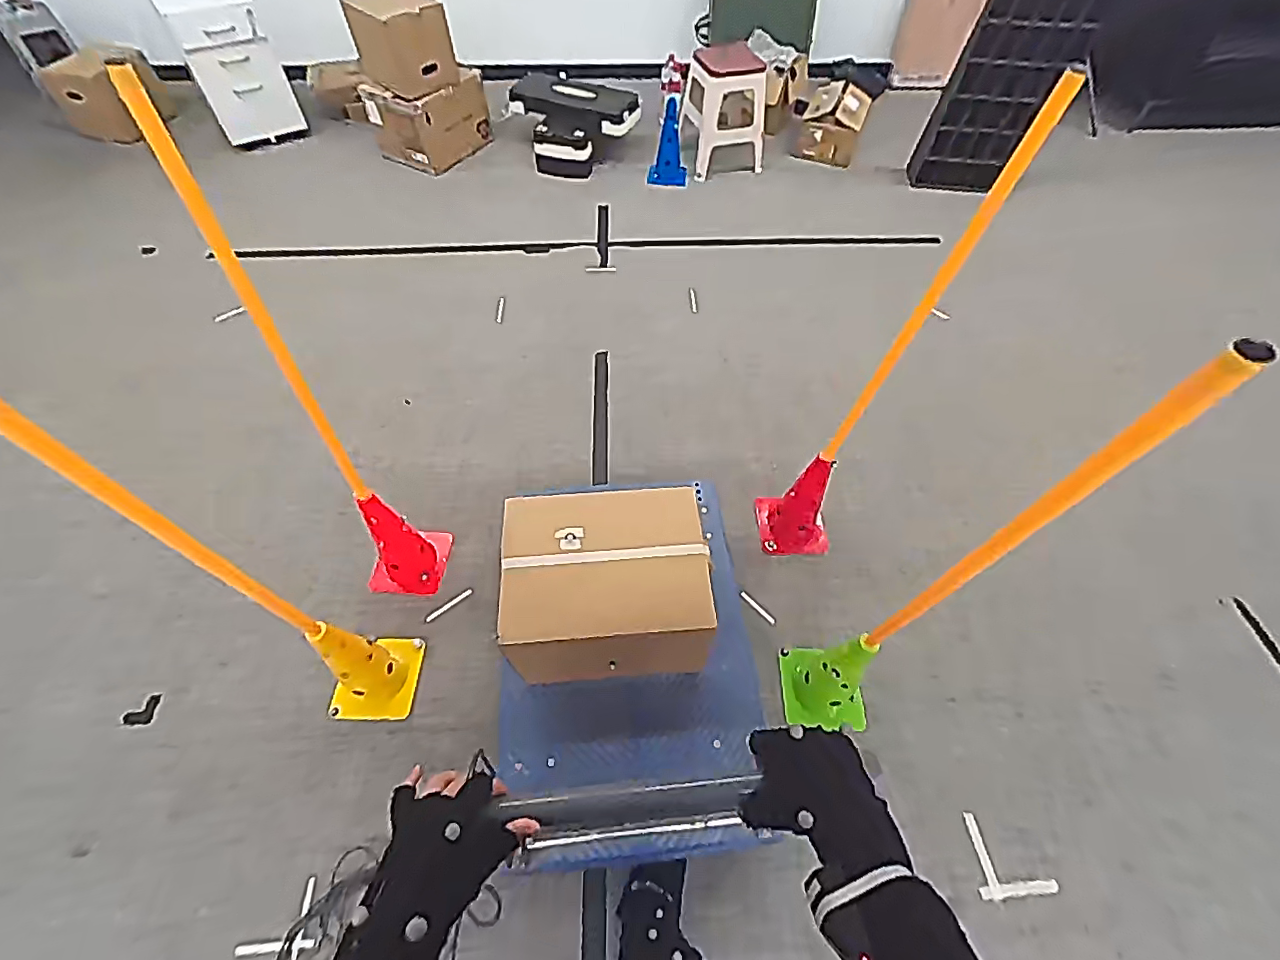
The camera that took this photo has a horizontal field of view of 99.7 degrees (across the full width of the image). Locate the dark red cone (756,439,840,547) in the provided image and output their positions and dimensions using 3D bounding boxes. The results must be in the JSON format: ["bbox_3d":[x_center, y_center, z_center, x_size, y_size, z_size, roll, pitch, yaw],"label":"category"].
[{"bbox_3d":[0.471,0.025,1.511,0.201,0.394,0.202,0,56,-4],"label":"dark red cone"}]

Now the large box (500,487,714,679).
[{"bbox_3d":[-0.070,0.237,1.199,0.408,0.320,0.320,-4,56,-2],"label":"large box"}]

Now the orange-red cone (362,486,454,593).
[{"bbox_3d":[-0.656,0.129,1.437,0.198,0.360,0.199,6,54,1],"label":"orange-red cone"}]

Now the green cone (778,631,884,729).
[{"bbox_3d":[0.468,0.434,1.250,0.202,0.368,0.200,3,55,-1],"label":"green cone"}]
